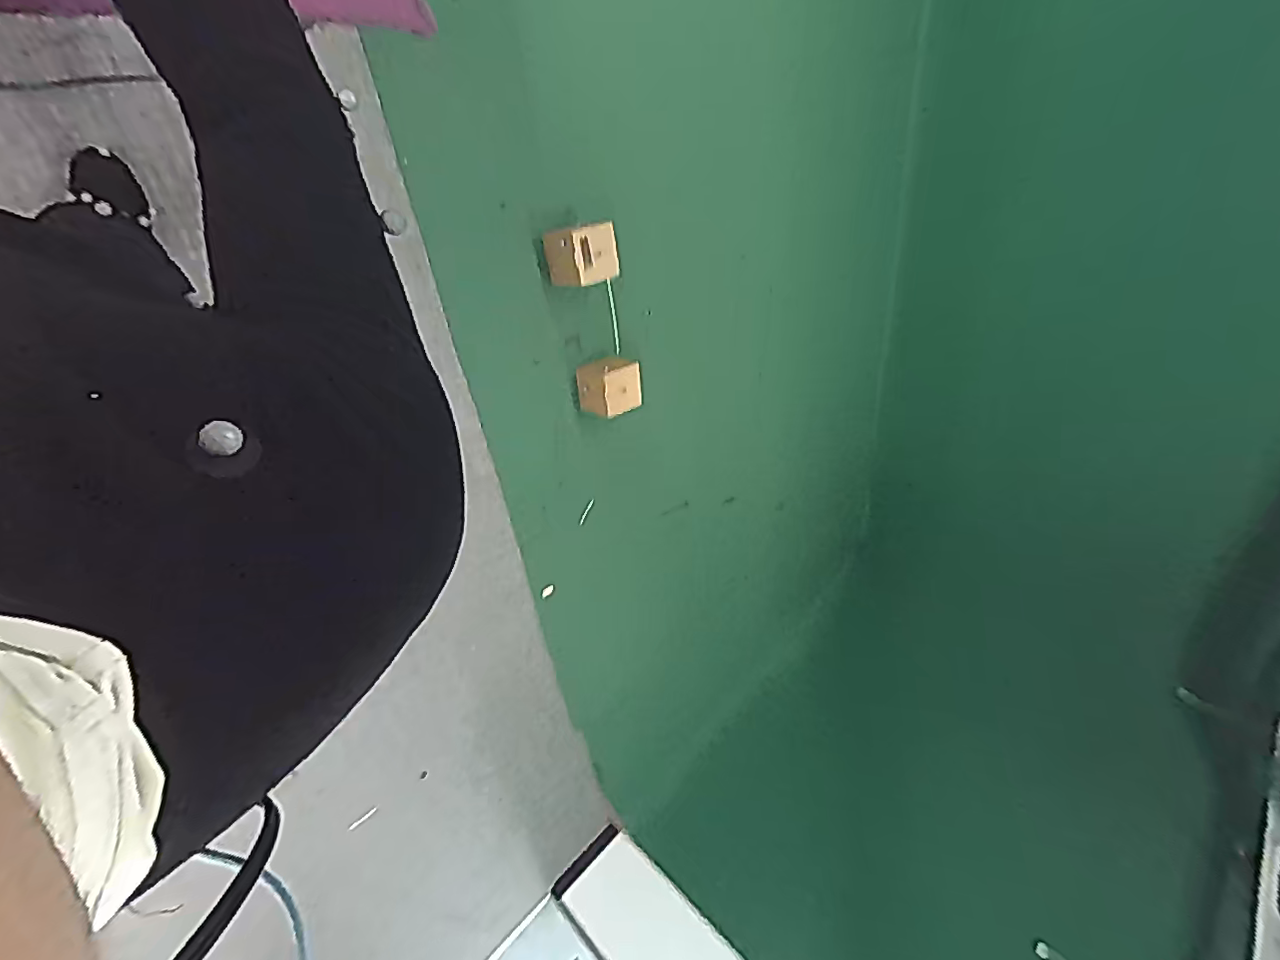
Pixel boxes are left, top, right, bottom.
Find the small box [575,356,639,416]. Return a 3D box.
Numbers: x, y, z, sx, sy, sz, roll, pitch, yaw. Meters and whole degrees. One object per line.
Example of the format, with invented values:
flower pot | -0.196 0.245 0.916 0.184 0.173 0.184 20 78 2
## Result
small box | -0.125 -0.367 2.077 0.179 0.176 0.168 -28 126 -34
